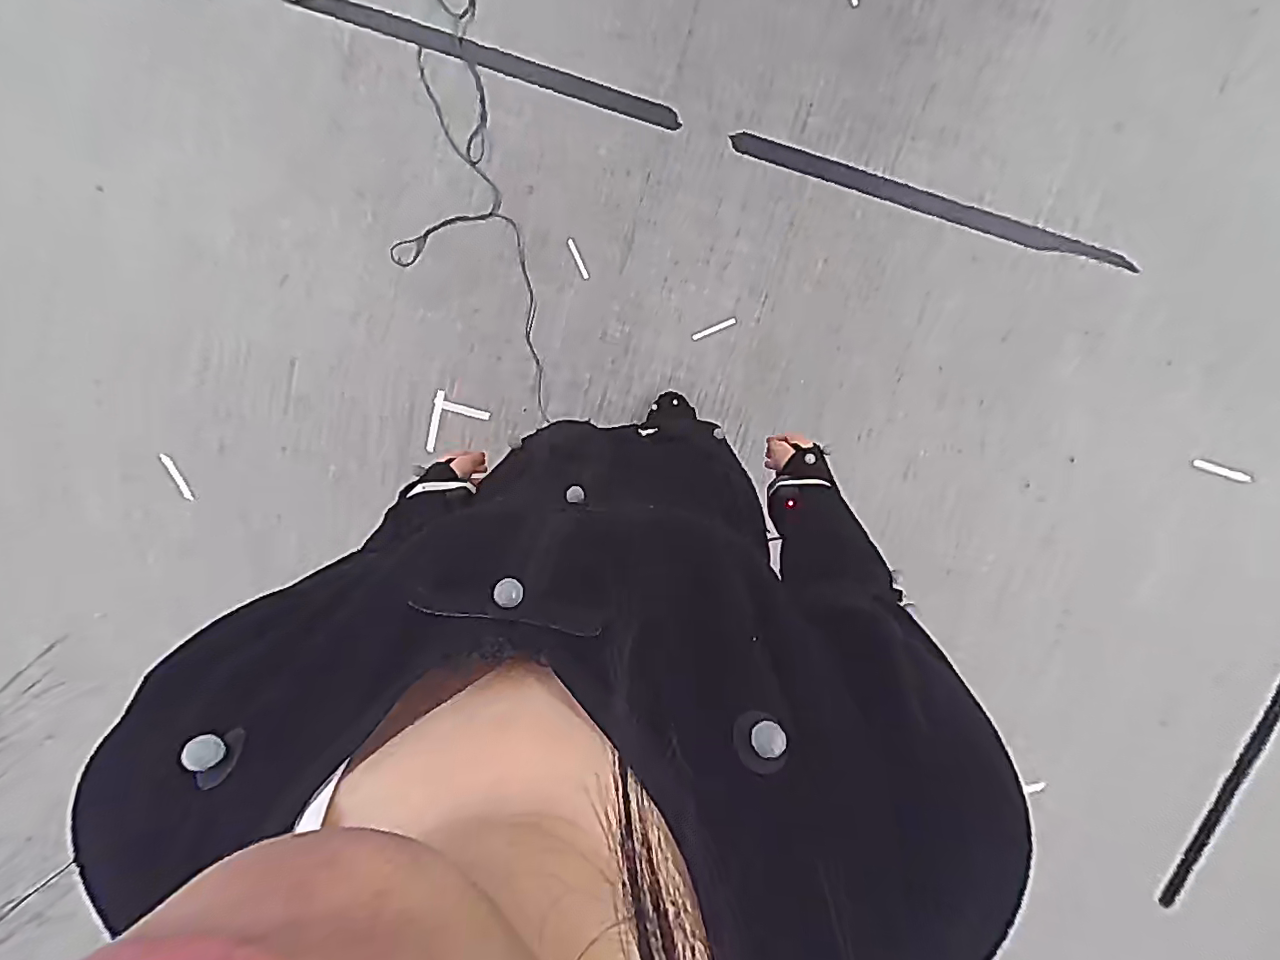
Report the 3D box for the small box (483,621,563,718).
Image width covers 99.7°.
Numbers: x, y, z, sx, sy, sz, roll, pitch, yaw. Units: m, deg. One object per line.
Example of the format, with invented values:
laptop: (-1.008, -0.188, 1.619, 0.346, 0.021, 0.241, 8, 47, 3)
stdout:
small box: (-0.311, 0.506, 1.460, 0.168, 0.176, 0.179, 9, 99, 1)
